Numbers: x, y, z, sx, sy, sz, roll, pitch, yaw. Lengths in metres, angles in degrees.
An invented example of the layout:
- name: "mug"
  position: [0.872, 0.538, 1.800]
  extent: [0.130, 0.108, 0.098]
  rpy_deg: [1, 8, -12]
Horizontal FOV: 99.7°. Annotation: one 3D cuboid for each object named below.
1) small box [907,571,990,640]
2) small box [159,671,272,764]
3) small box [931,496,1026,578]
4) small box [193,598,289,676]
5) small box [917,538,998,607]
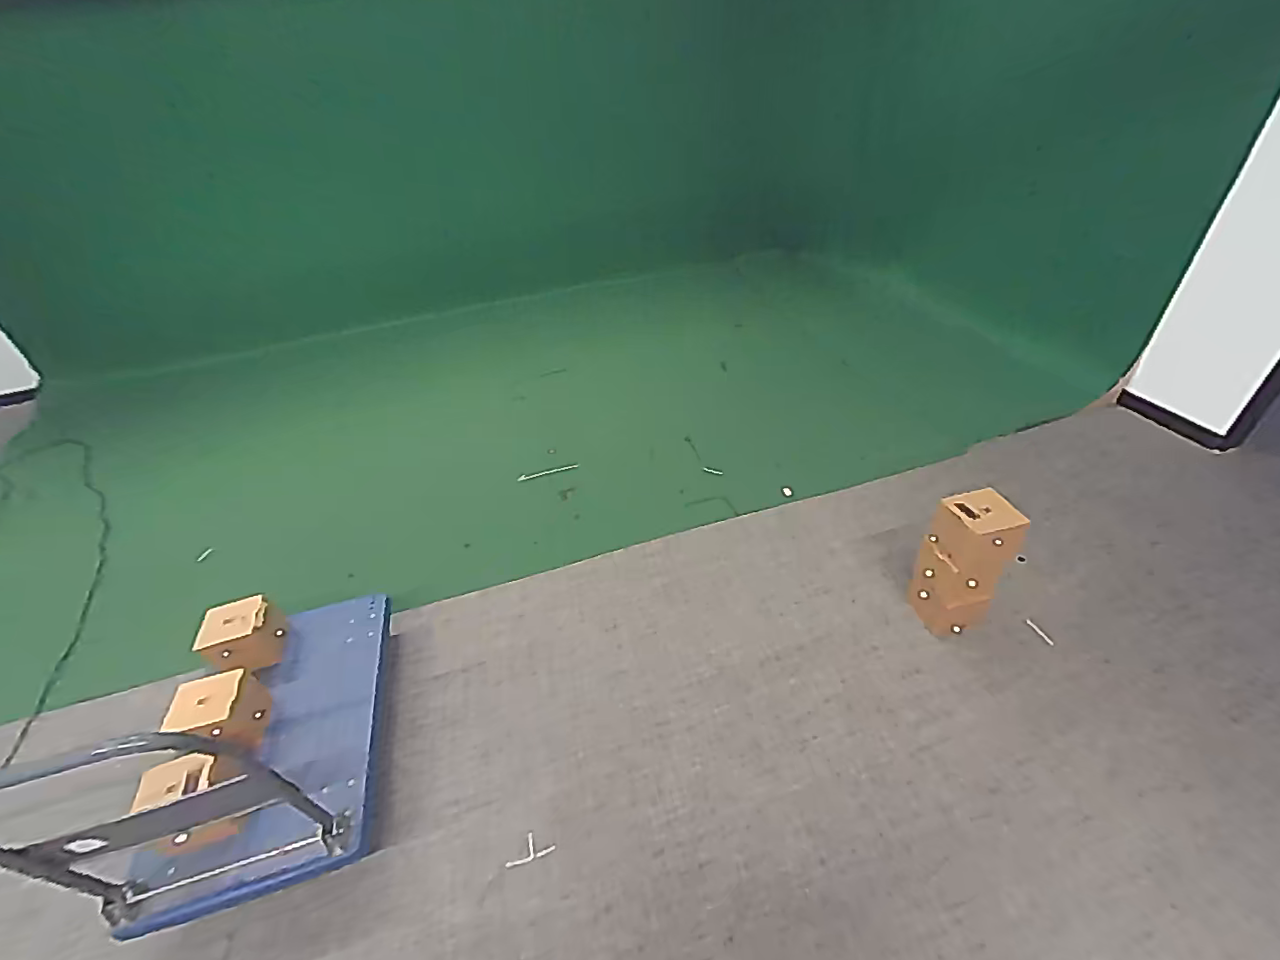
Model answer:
- name: "small box"
  position: [1.049, 0.417, 1.857]
  extent: [0.168, 0.176, 0.179]
  rpy_deg: [-12, 39, -5]
- name: "small box"
  position: [-1.214, 0.690, 1.562]
  extent: [0.179, 0.176, 0.168]
  rpy_deg: [-13, 39, -10]
- name: "small box"
  position: [1.023, 0.178, 1.658]
  extent: [0.179, 0.176, 0.168]
  rpy_deg: [-12, 40, -6]
- name: "small box"
  position: [-1.296, 0.522, 1.772]
  extent: [0.179, 0.176, 0.168]
  rpy_deg: [-14, 41, -10]
- name: "small box"
  position: [1.028, 0.289, 1.757]
  extent: [0.179, 0.176, 0.168]
  rpy_deg: [-13, 39, -5]
